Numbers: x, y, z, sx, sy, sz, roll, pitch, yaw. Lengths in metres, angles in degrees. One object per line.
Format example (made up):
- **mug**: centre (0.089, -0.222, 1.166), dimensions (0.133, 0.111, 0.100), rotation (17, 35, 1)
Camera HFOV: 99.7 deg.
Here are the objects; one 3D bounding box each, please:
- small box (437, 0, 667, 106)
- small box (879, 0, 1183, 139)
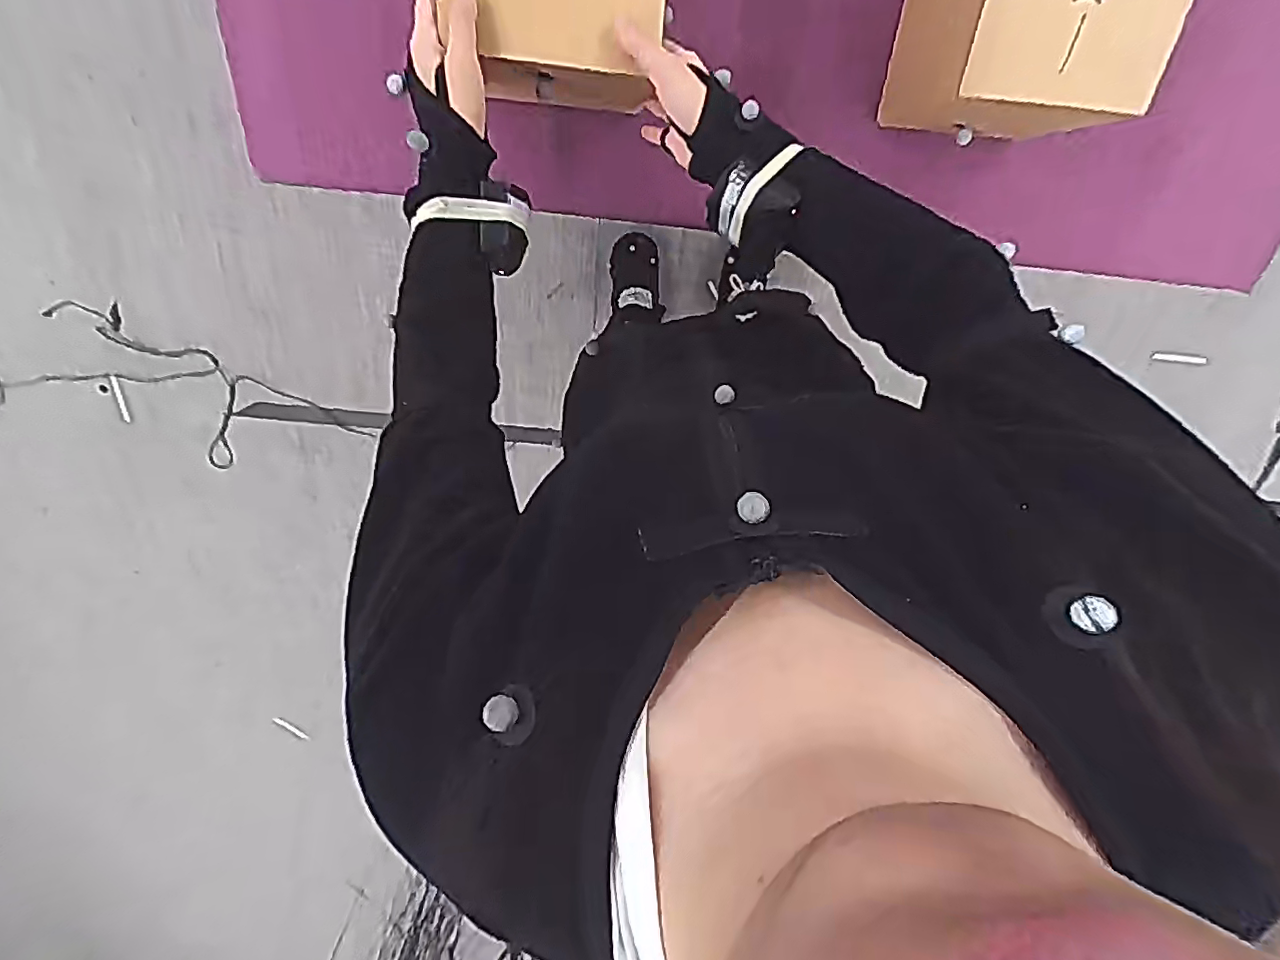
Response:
- **small box**: centre (-0.071, -0.440, 0.466), dimensions (0.179, 0.176, 0.168), rotation (2, 116, -6)
- **small box**: centre (0.344, -0.428, 0.488), dimensions (0.168, 0.176, 0.179), rotation (4, 117, -3)
